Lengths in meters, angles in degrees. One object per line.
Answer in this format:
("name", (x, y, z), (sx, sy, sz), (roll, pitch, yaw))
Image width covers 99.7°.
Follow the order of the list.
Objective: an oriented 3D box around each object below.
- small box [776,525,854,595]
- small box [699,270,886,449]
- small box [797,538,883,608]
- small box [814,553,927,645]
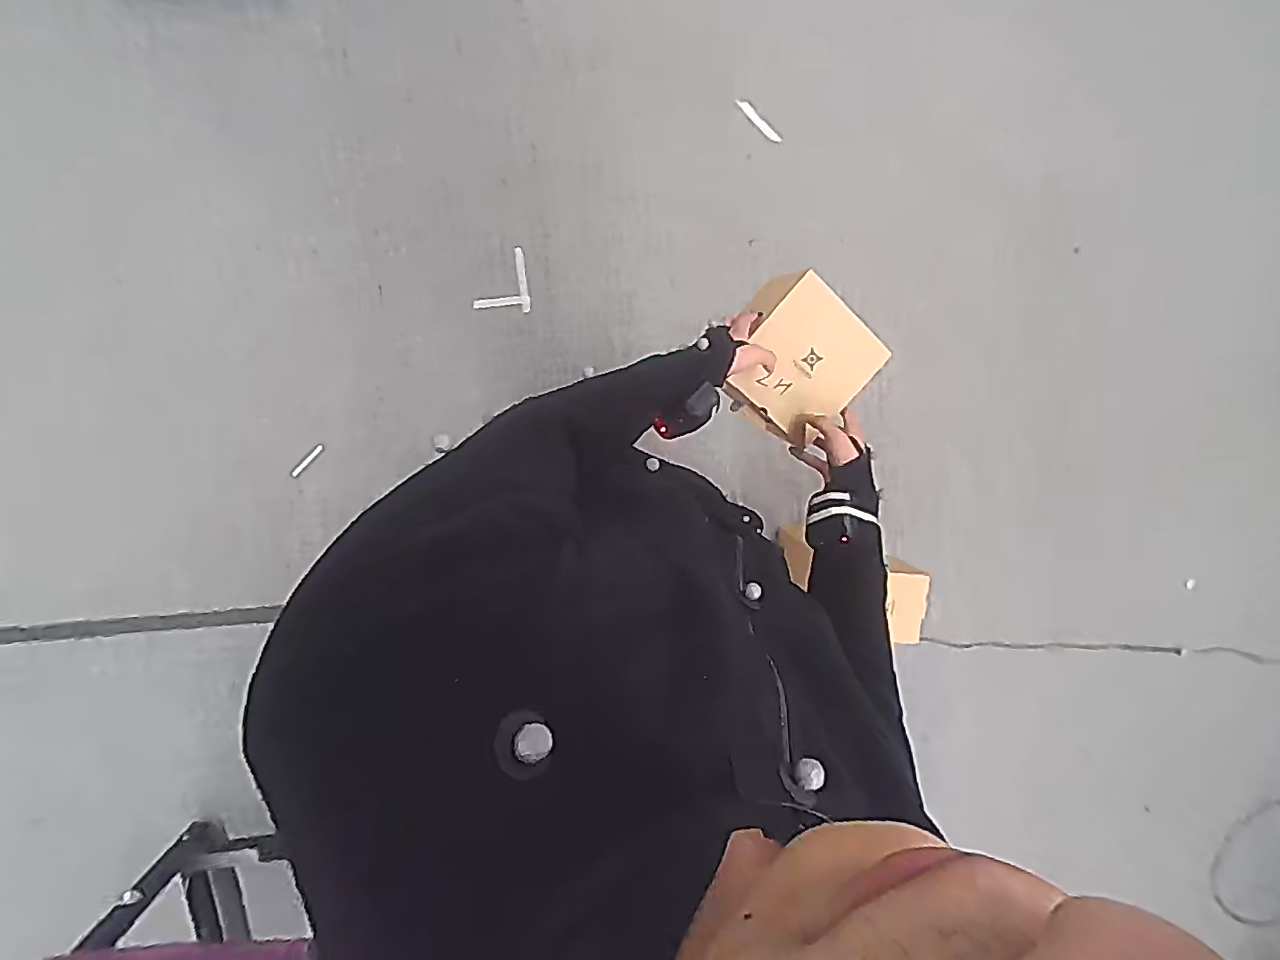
("small box", (0.519, 0.233, 1.615), (0.179, 0.176, 0.168), (-4, 98, -4))
("small box", (0.208, -0.177, 0.793), (0.168, 0.176, 0.179), (39, 98, -14))
("small box", (0.532, 0.257, 1.455), (0.168, 0.176, 0.179), (-2, 98, -5))
("small box", (0.543, 0.278, 1.293), (0.179, 0.176, 0.168), (5, 98, -7))
